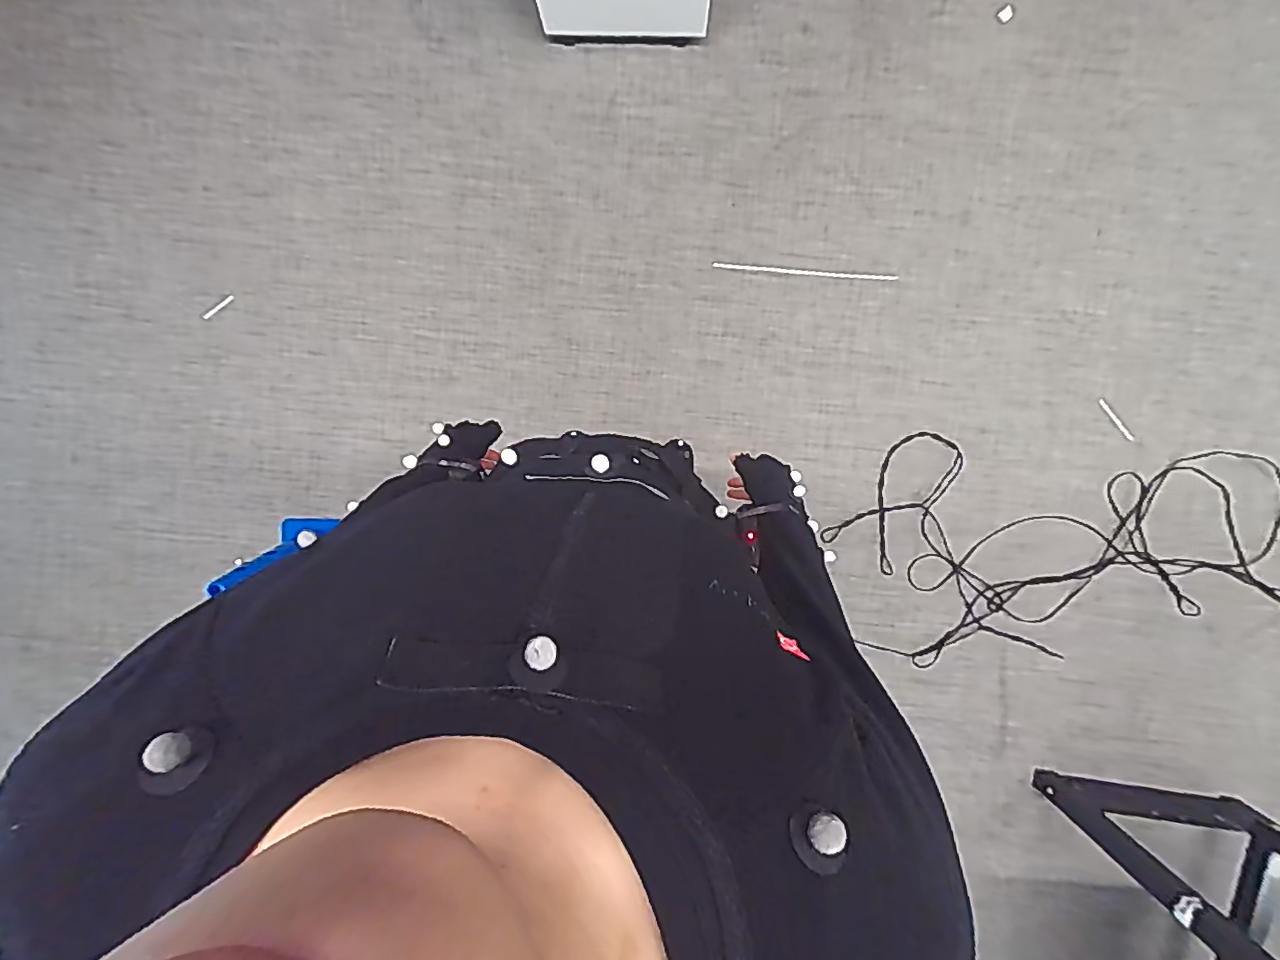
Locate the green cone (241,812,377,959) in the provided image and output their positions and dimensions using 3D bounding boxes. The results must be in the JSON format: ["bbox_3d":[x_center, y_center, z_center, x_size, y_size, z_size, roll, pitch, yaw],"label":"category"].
[{"bbox_3d":[-0.873,1.080,1.395,0.200,0.368,0.202,8,94,1],"label":"green cone"}]
